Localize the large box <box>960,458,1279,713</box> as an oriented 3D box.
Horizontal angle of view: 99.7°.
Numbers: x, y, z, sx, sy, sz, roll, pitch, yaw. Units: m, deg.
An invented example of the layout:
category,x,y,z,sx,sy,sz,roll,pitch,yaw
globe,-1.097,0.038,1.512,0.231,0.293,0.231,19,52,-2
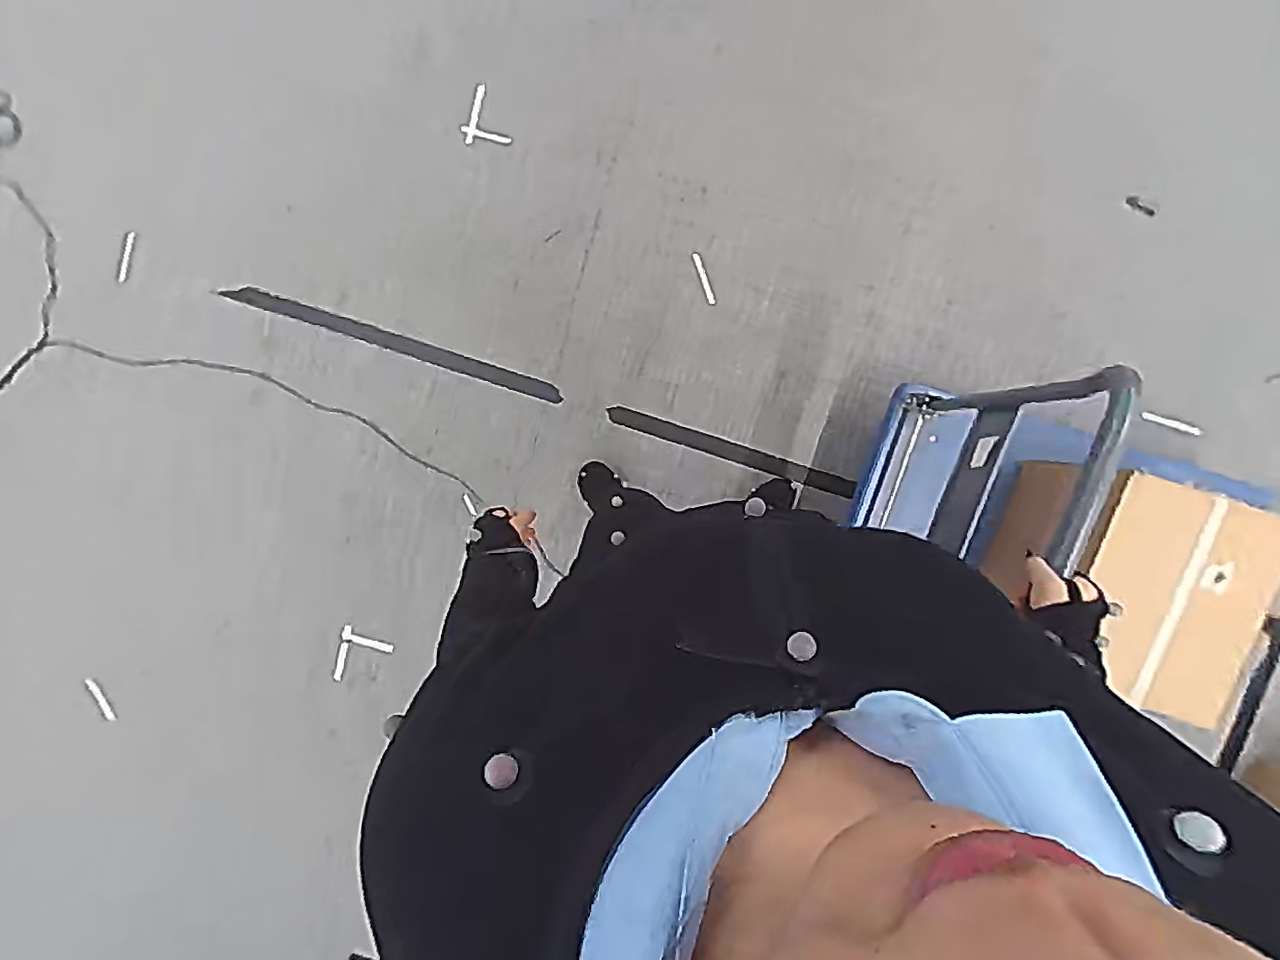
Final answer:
category,x,y,z,sx,sy,sz,roll,pitch,yaw
large box,0.955,0.190,1.134,0.320,0.320,0.408,18,95,1
